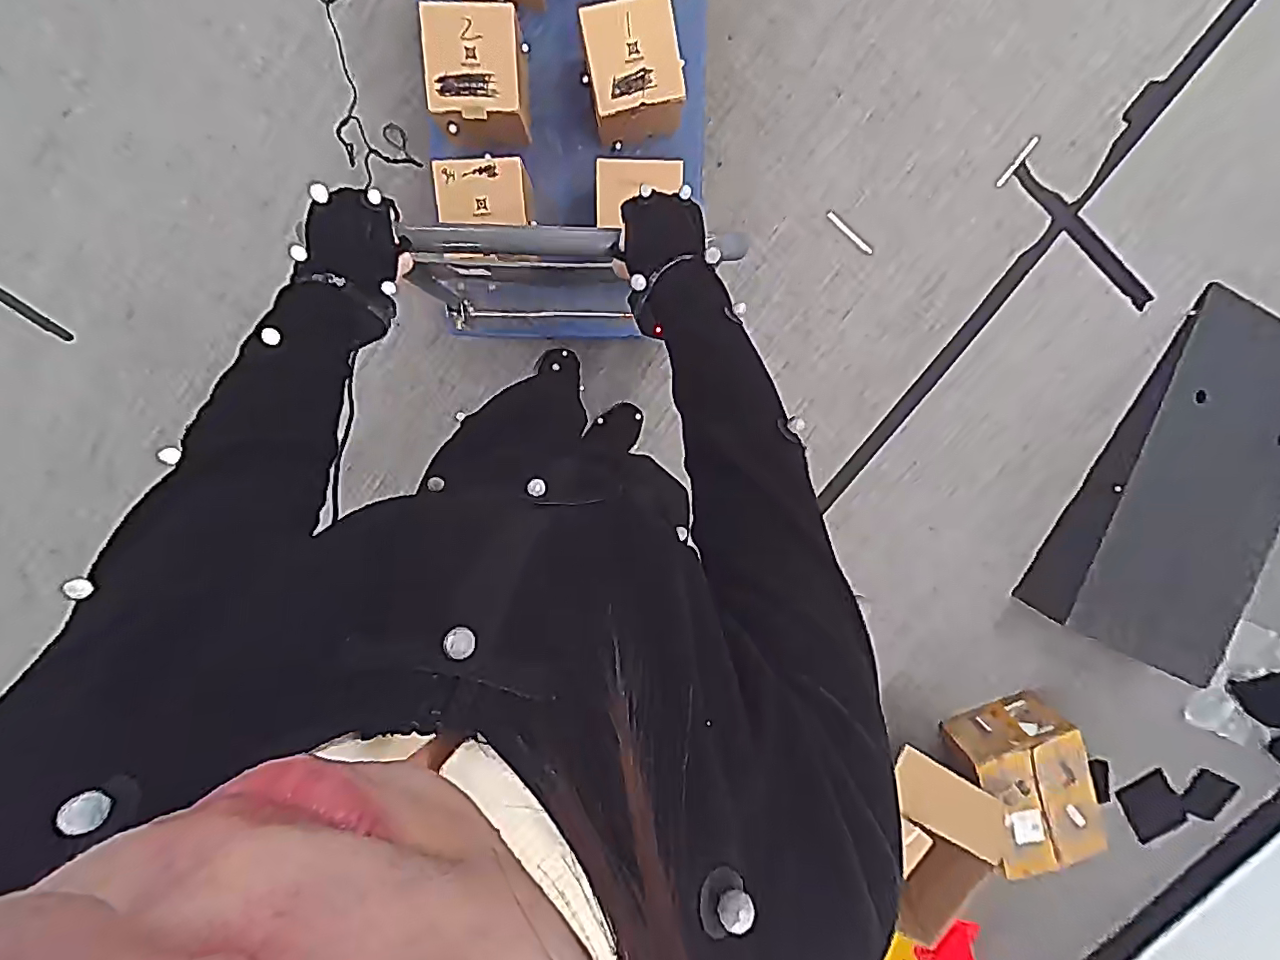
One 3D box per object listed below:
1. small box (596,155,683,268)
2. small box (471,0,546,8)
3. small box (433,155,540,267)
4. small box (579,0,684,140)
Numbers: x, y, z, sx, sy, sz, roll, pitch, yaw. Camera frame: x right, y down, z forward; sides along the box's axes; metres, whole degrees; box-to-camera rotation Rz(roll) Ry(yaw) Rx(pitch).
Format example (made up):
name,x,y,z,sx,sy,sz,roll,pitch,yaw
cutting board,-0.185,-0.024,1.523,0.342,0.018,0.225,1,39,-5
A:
name,x,y,z,sx,sy,sz,roll,pitch,yaw
small box,-0.004,-0.540,1.111,0.168,0.176,0.179,0,102,-3
small box,-0.262,-1.019,0.987,0.168,0.176,0.179,2,104,-3
small box,-0.302,-0.534,1.097,0.168,0.176,0.179,-4,104,-3
small box,-0.015,-0.790,1.052,0.168,0.176,0.179,-12,102,0
